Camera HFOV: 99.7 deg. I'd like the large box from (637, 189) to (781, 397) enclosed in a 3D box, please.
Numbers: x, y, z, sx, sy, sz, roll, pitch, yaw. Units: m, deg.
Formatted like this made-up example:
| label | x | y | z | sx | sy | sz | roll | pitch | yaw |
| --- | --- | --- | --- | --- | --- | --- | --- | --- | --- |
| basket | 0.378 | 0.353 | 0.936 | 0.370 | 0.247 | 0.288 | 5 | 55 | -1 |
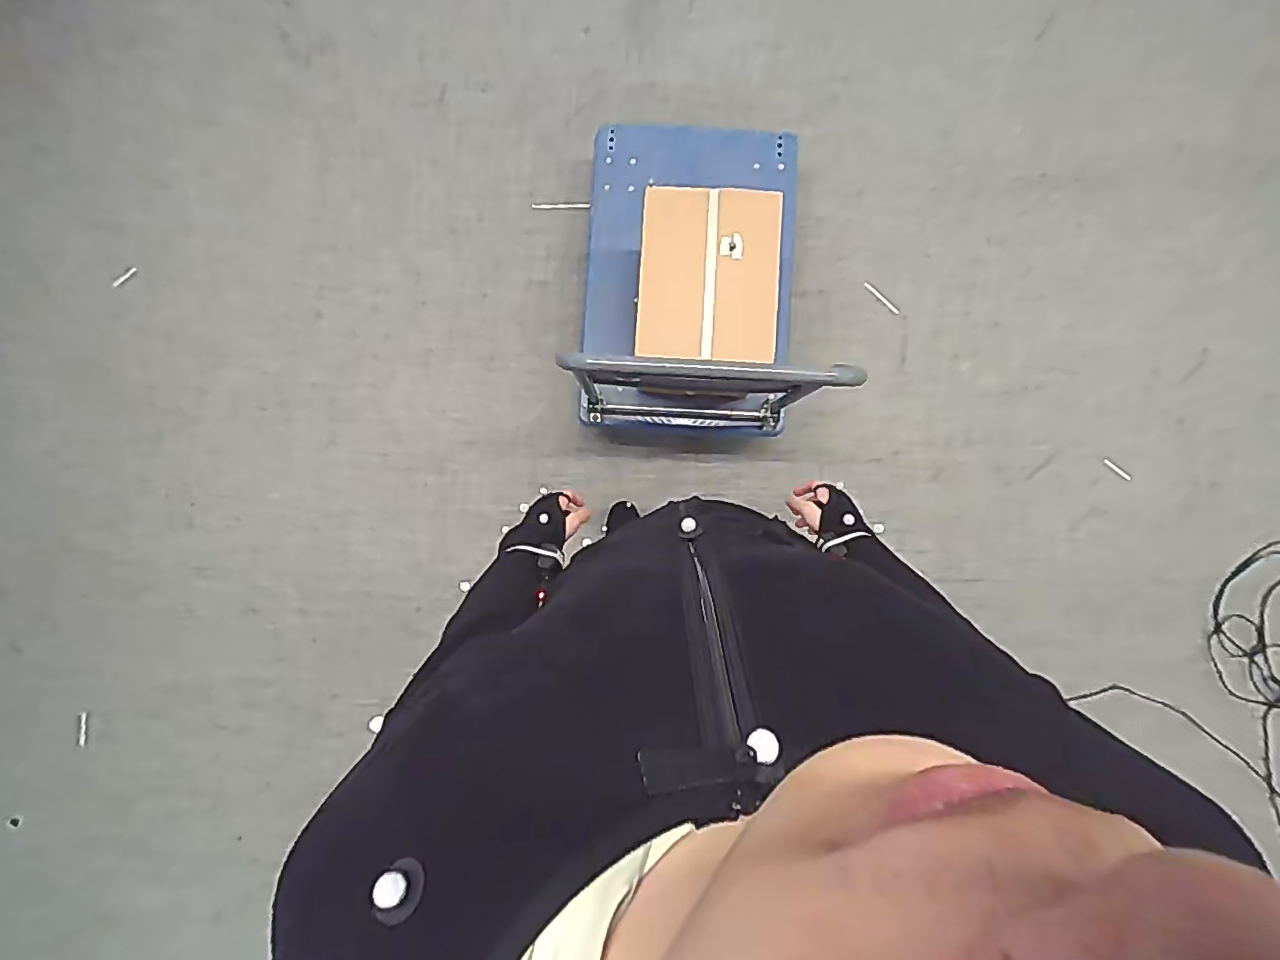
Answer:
| label | x | y | z | sx | sy | sz | roll | pitch | yaw |
| --- | --- | --- | --- | --- | --- | --- | --- | --- | --- |
| large box | 0.158 | -0.438 | 1.345 | 0.320 | 0.320 | 0.408 | 3 | 85 | 0 |
